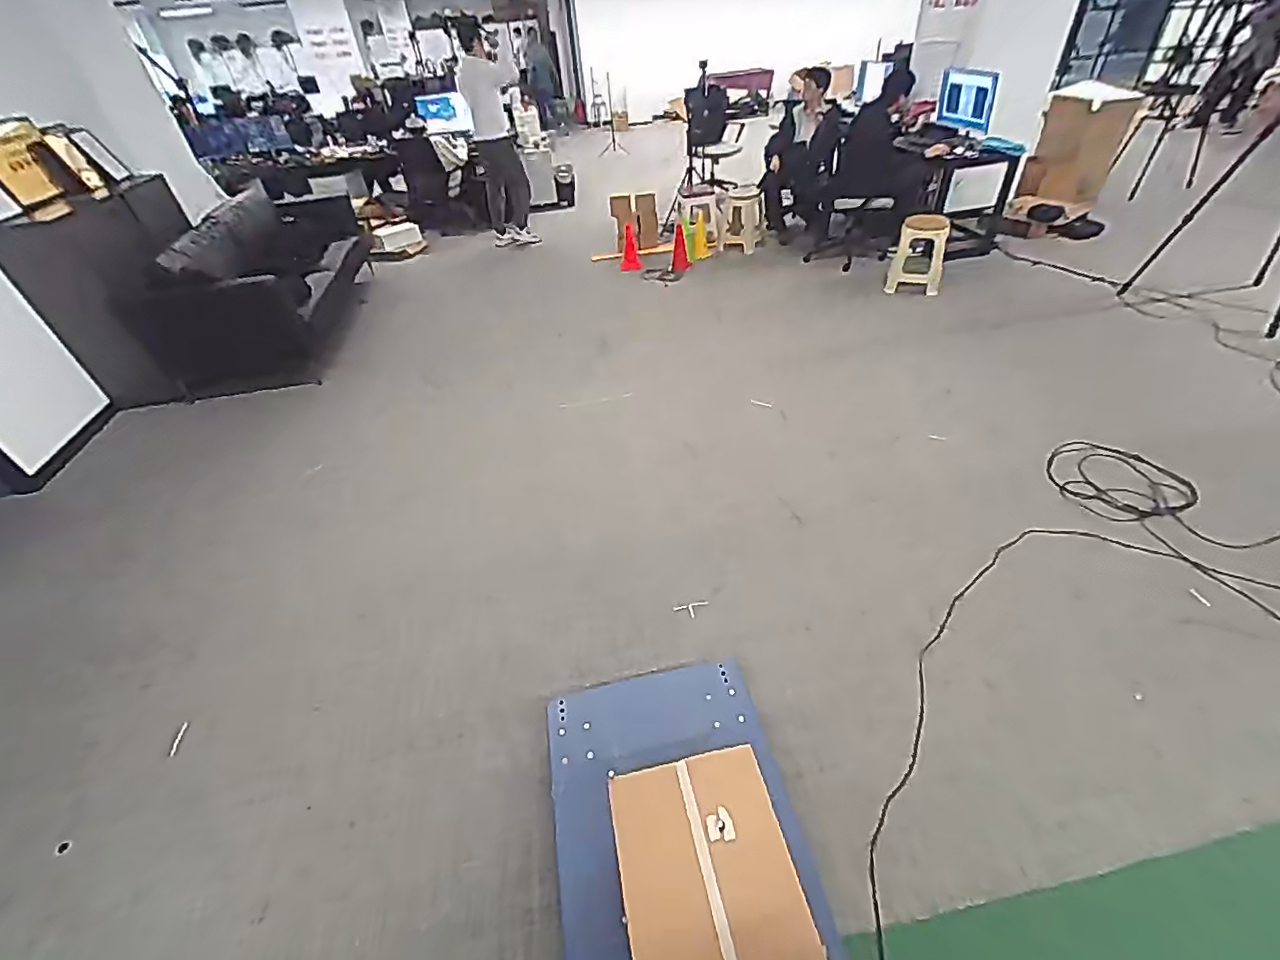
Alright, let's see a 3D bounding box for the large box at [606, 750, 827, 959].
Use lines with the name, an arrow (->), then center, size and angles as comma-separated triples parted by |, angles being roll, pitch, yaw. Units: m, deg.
large box -> 0.134, 0.837, 1.073 | 0.320, 0.320, 0.408 | -10, 39, -7
